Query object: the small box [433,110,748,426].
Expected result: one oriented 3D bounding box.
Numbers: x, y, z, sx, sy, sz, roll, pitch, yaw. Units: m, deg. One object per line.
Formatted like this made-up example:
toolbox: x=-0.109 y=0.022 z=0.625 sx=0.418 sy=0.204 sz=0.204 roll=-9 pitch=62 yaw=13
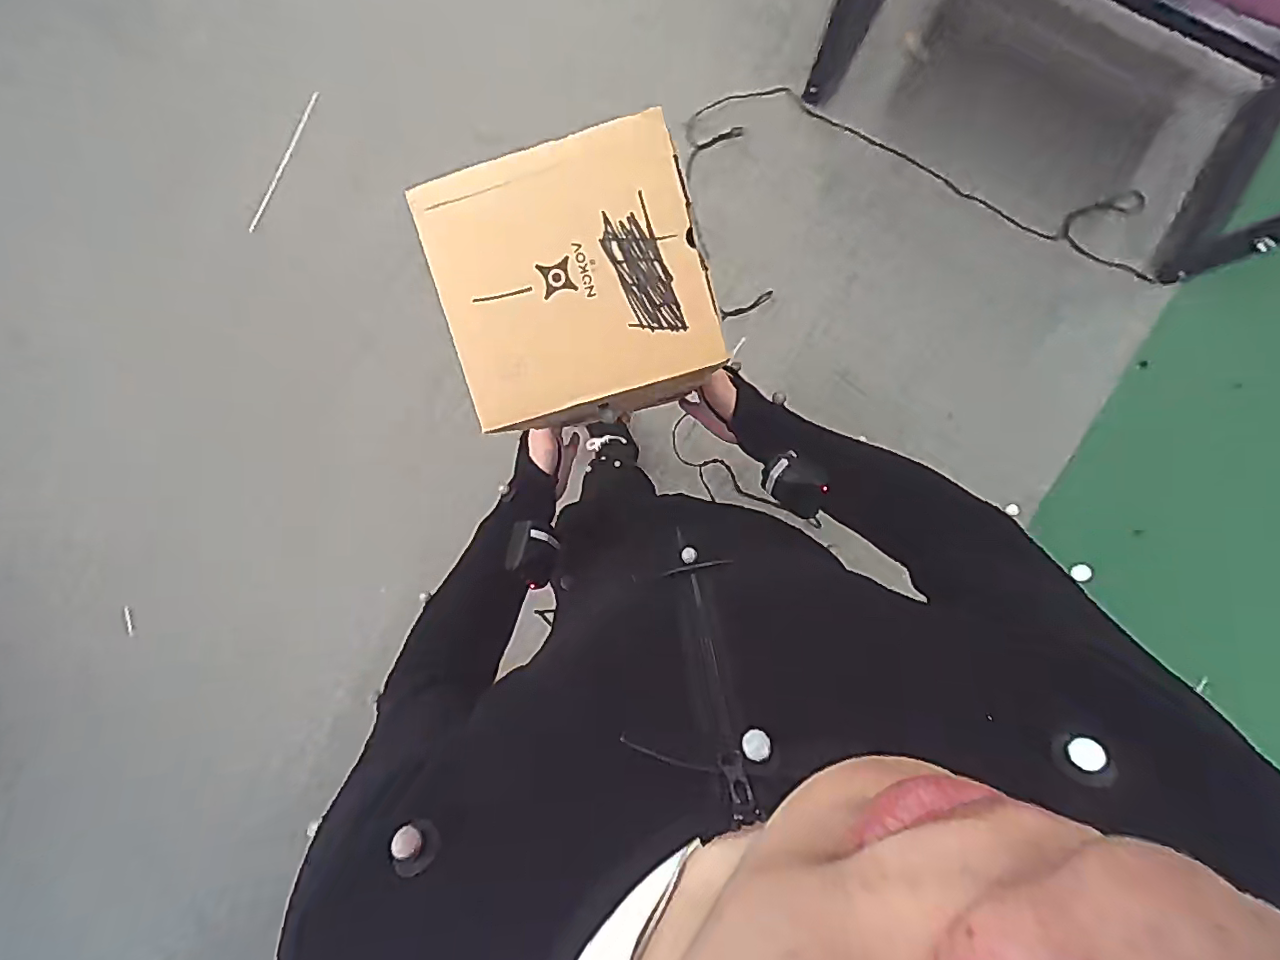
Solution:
small box: x=-0.030 y=-0.145 z=0.430 sx=0.179 sy=0.176 sz=0.168 roll=-14 pitch=96 yaw=3
